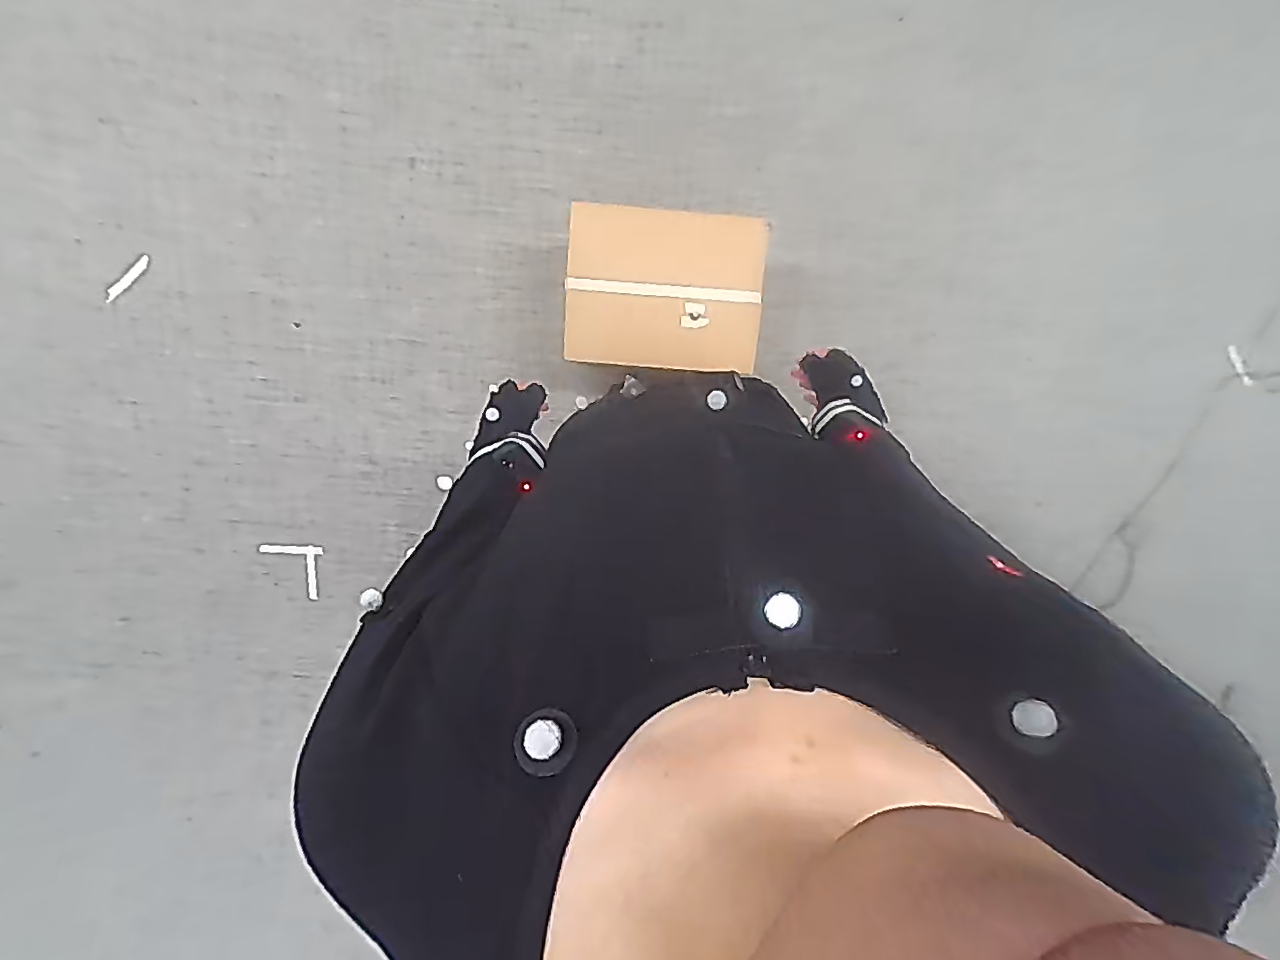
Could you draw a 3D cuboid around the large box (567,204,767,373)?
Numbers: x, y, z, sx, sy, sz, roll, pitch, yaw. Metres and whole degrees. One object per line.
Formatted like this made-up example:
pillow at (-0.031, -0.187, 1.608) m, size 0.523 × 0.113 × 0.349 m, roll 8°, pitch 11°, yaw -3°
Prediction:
large box at (0.045, -0.419, 1.259) m, size 0.408 × 0.320 × 0.320 m, roll 4°, pitch 101°, yaw -3°
